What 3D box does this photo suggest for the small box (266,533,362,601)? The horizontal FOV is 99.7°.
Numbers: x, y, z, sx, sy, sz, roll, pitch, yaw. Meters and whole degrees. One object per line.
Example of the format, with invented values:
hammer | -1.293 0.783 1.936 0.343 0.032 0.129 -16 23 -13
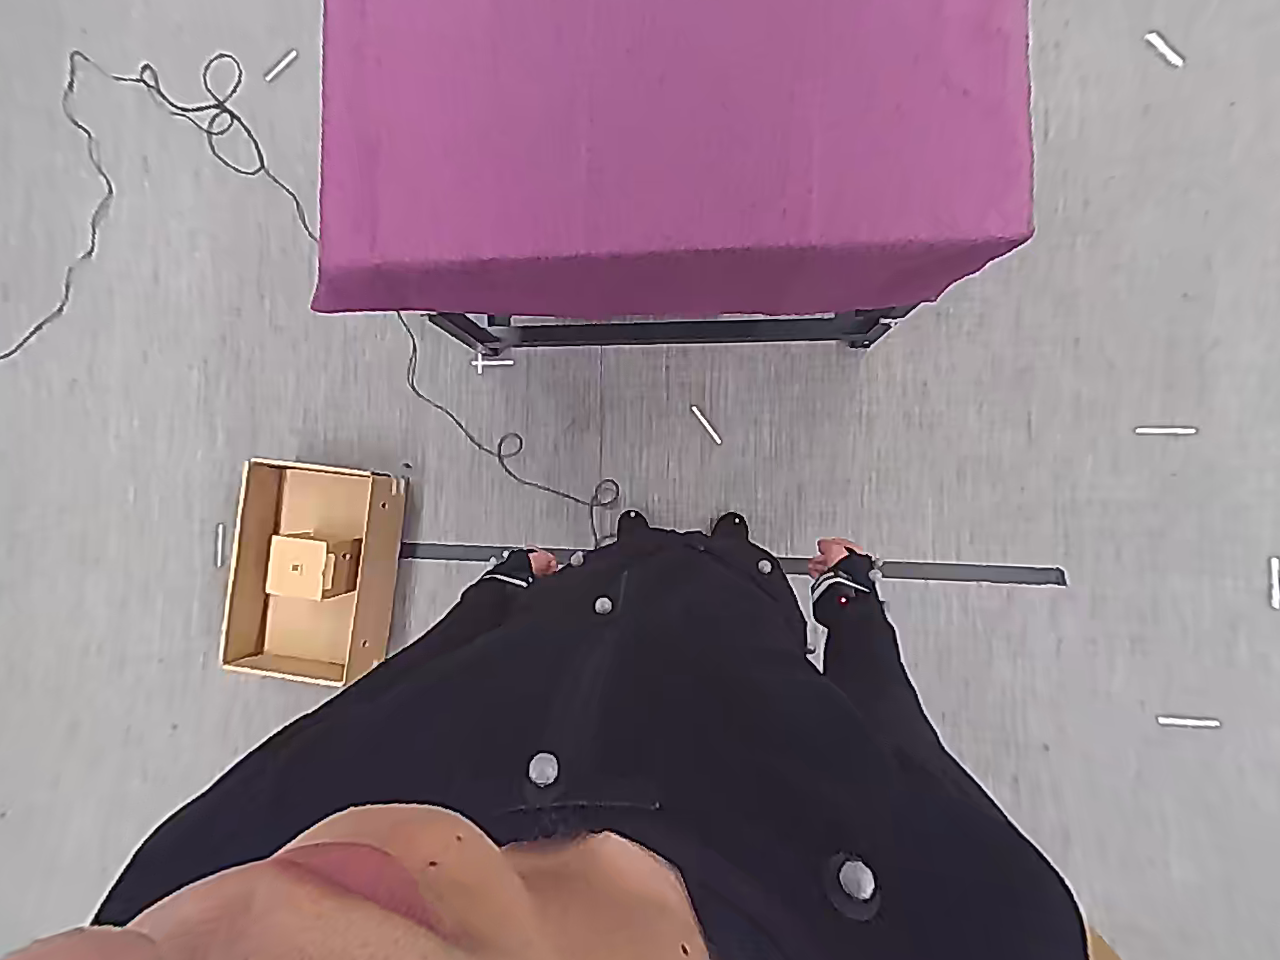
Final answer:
small box | -0.954 0.249 1.597 0.179 0.176 0.168 6 88 6
